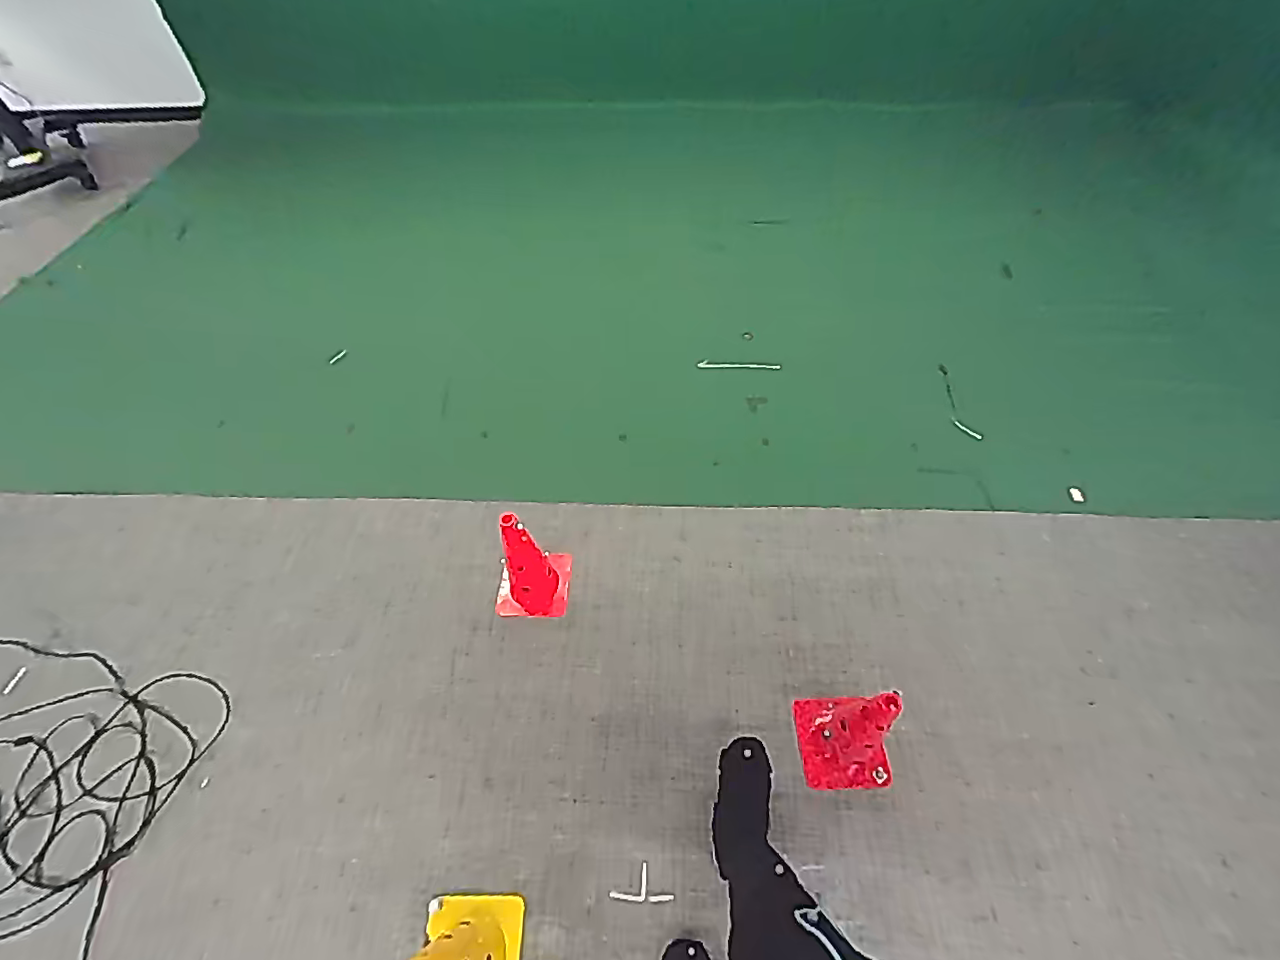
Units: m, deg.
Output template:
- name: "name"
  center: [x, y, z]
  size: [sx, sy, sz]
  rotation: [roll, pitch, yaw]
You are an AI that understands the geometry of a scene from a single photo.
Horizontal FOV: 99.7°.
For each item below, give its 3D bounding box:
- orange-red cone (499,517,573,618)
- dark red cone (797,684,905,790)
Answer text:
- name: "orange-red cone"
  center: [-0.309, 0.208, 1.434]
  size: [0.198, 0.360, 0.199]
  rotation: [0, 54, 4]
- name: "dark red cone"
  center: [0.479, 0.512, 1.143]
  size: [0.202, 0.394, 0.201]
  rotation: [-4, 52, 0]
